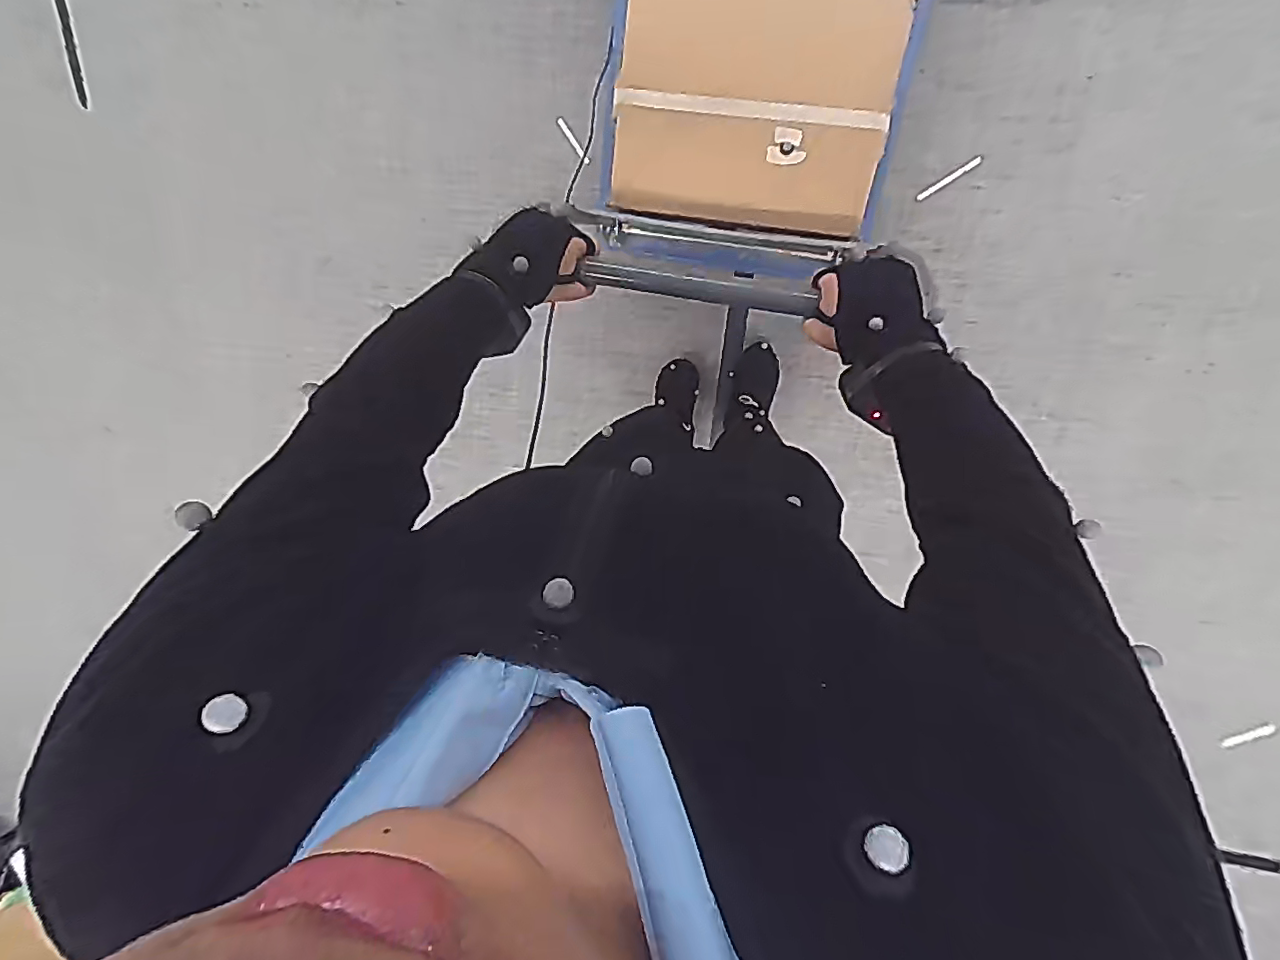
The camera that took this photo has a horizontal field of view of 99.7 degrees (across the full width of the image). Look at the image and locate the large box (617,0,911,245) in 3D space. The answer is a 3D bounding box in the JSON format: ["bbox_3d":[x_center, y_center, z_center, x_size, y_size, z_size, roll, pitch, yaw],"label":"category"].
[{"bbox_3d":[0.192,-0.616,0.968,0.408,0.320,0.320,10,112,6],"label":"large box"}]
